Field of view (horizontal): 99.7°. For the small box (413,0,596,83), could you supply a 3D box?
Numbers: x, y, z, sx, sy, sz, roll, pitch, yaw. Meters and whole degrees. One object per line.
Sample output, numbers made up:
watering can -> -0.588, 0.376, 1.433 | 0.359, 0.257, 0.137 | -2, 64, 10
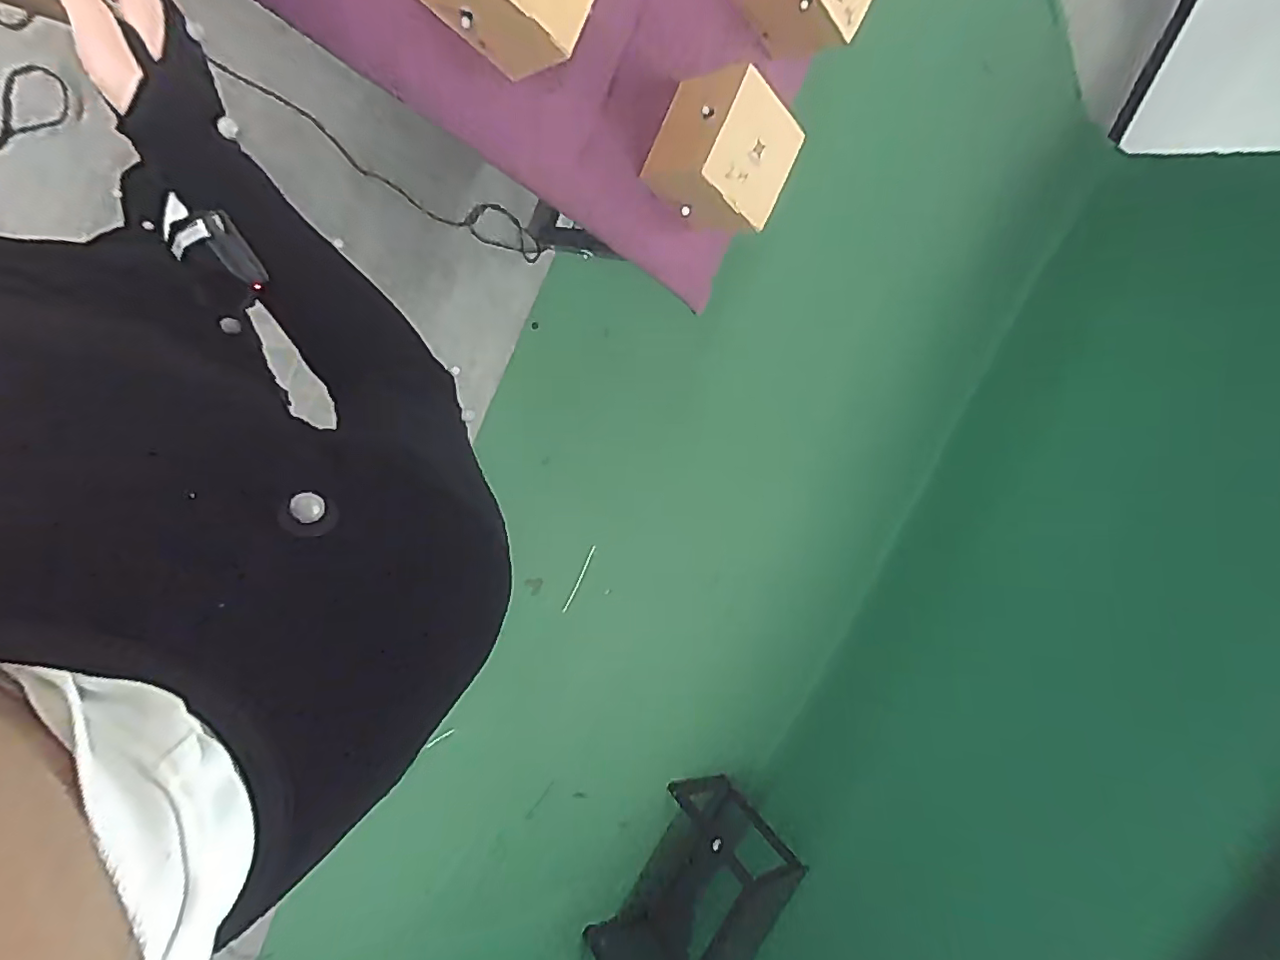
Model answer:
small box -> -0.156, -0.633, 0.657 | 0.168, 0.176, 0.179 | 19, 99, -43

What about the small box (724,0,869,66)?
small box -> 0.268, -0.830, 0.883 | 0.168, 0.176, 0.179 | 19, 102, -40

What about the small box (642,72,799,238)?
small box -> 0.131, -0.542, 0.926 | 0.168, 0.176, 0.179 | 21, 98, -41
